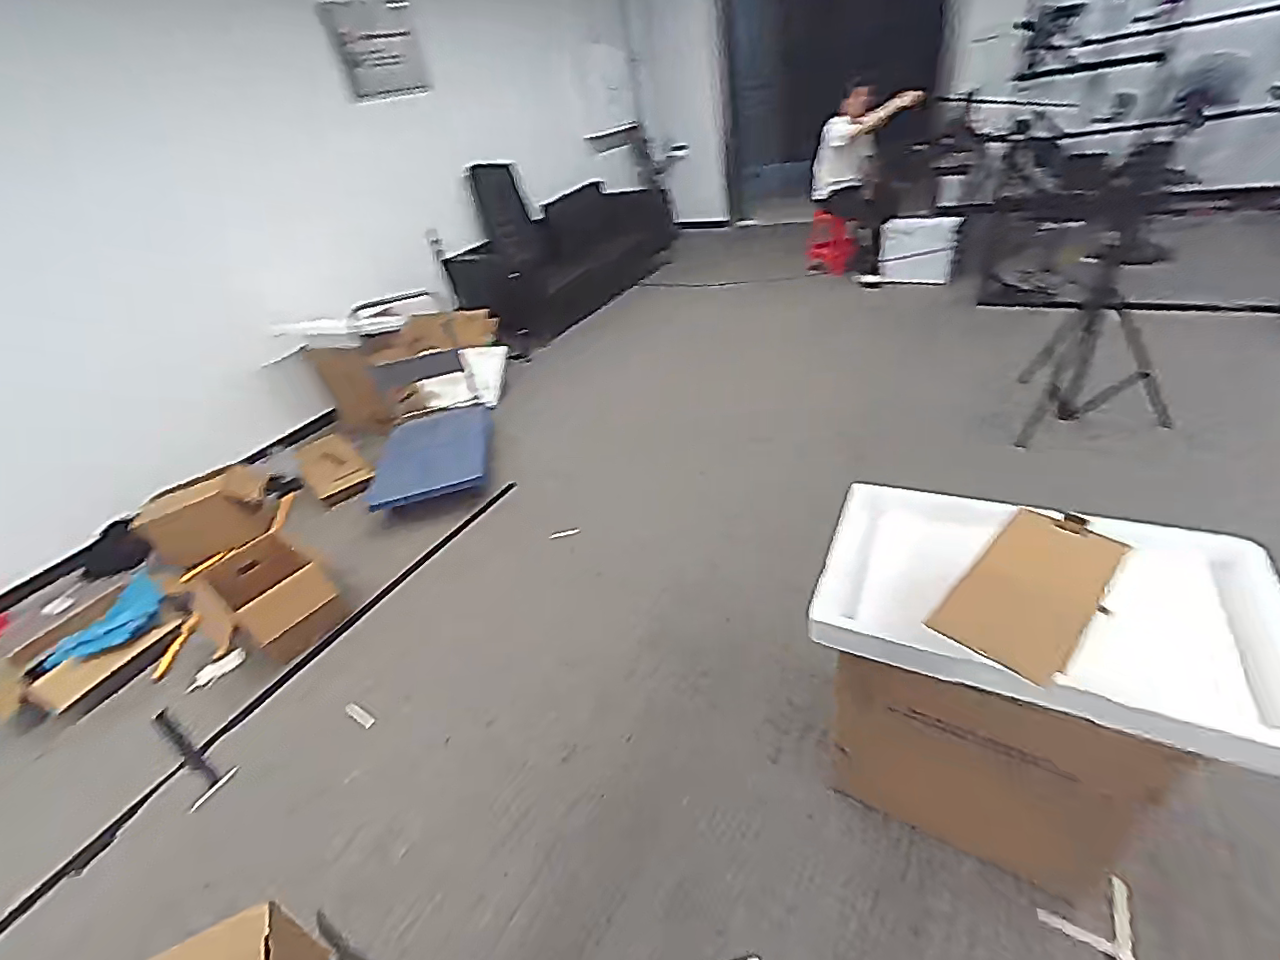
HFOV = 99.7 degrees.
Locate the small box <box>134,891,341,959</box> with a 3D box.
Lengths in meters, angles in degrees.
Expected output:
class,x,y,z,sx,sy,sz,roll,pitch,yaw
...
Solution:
class,x,y,z,sx,sy,sz,roll,pitch,yaw
small box,-0.362,0.499,0.443,0.179,0.176,0.168,-16,39,-23
